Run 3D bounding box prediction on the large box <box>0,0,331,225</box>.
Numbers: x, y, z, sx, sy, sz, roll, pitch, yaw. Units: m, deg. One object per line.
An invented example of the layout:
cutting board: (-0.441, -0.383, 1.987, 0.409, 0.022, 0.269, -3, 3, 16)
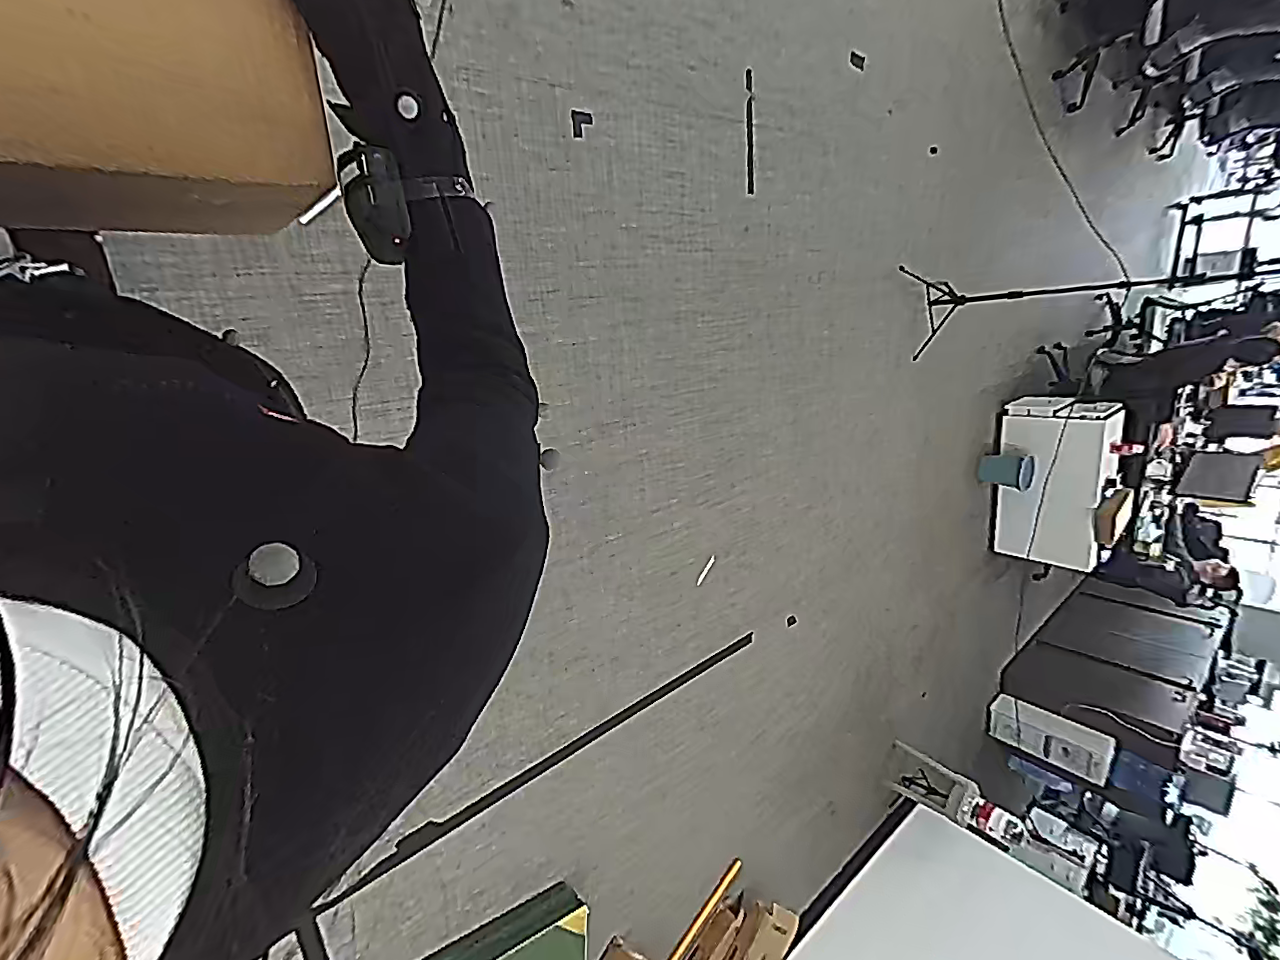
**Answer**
large box: (-0.473, -0.340, 0.322, 0.408, 0.320, 0.320, -18, 116, -37)
